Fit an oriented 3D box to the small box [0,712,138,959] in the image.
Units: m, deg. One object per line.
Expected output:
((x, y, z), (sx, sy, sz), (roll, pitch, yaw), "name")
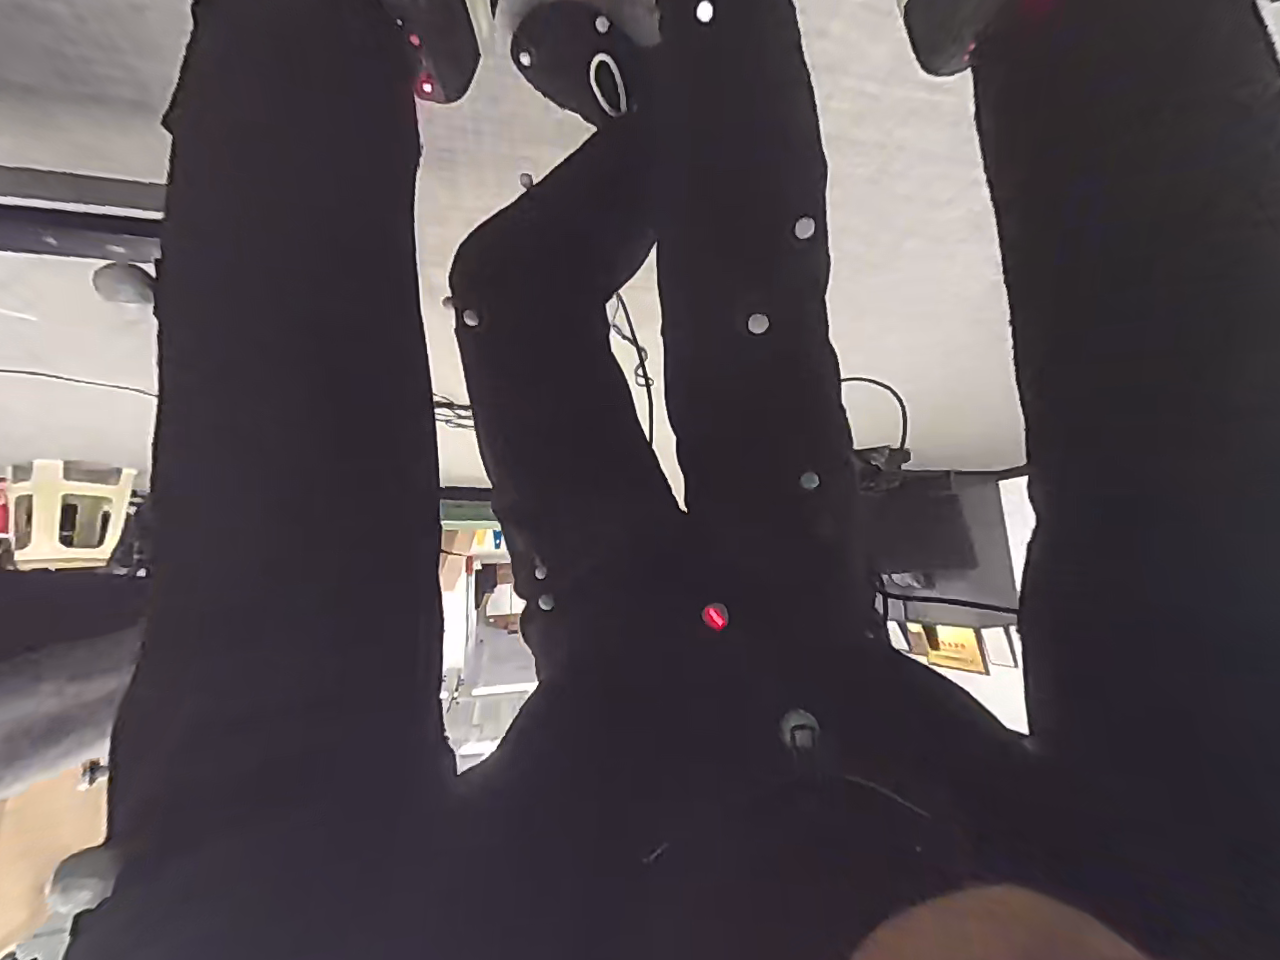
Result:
((-0.591, 0.307, 0.466), (0.179, 0.176, 0.168), (-1, 169, -12), "small box")
